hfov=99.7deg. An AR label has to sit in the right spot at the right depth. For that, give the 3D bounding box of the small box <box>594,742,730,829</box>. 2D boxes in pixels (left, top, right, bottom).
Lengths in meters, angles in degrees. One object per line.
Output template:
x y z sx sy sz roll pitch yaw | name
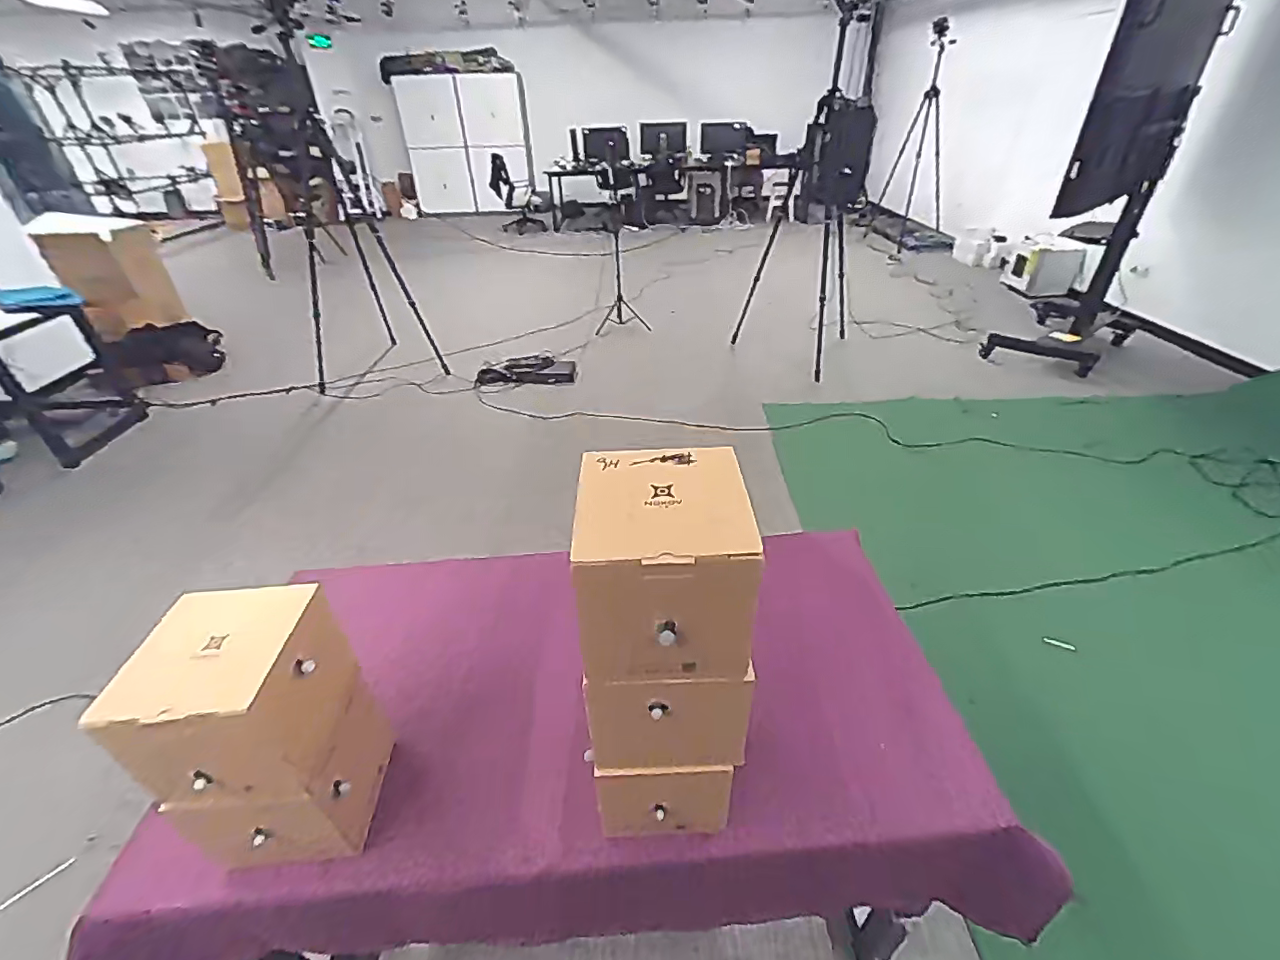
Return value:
0.029 0.360 0.748 0.168 0.176 0.179 -1 35 0 | small box

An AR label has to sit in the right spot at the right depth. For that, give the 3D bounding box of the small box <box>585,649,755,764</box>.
0.033 0.224 0.655 0.179 0.176 0.168 -1 36 0 | small box

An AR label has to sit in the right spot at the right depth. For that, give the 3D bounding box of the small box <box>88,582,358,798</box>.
-0.464 0.246 0.645 0.168 0.176 0.179 -3 36 -2 | small box

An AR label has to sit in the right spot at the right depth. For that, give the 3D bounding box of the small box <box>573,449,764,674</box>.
0.027 0.086 0.566 0.168 0.176 0.179 -1 36 0 | small box
